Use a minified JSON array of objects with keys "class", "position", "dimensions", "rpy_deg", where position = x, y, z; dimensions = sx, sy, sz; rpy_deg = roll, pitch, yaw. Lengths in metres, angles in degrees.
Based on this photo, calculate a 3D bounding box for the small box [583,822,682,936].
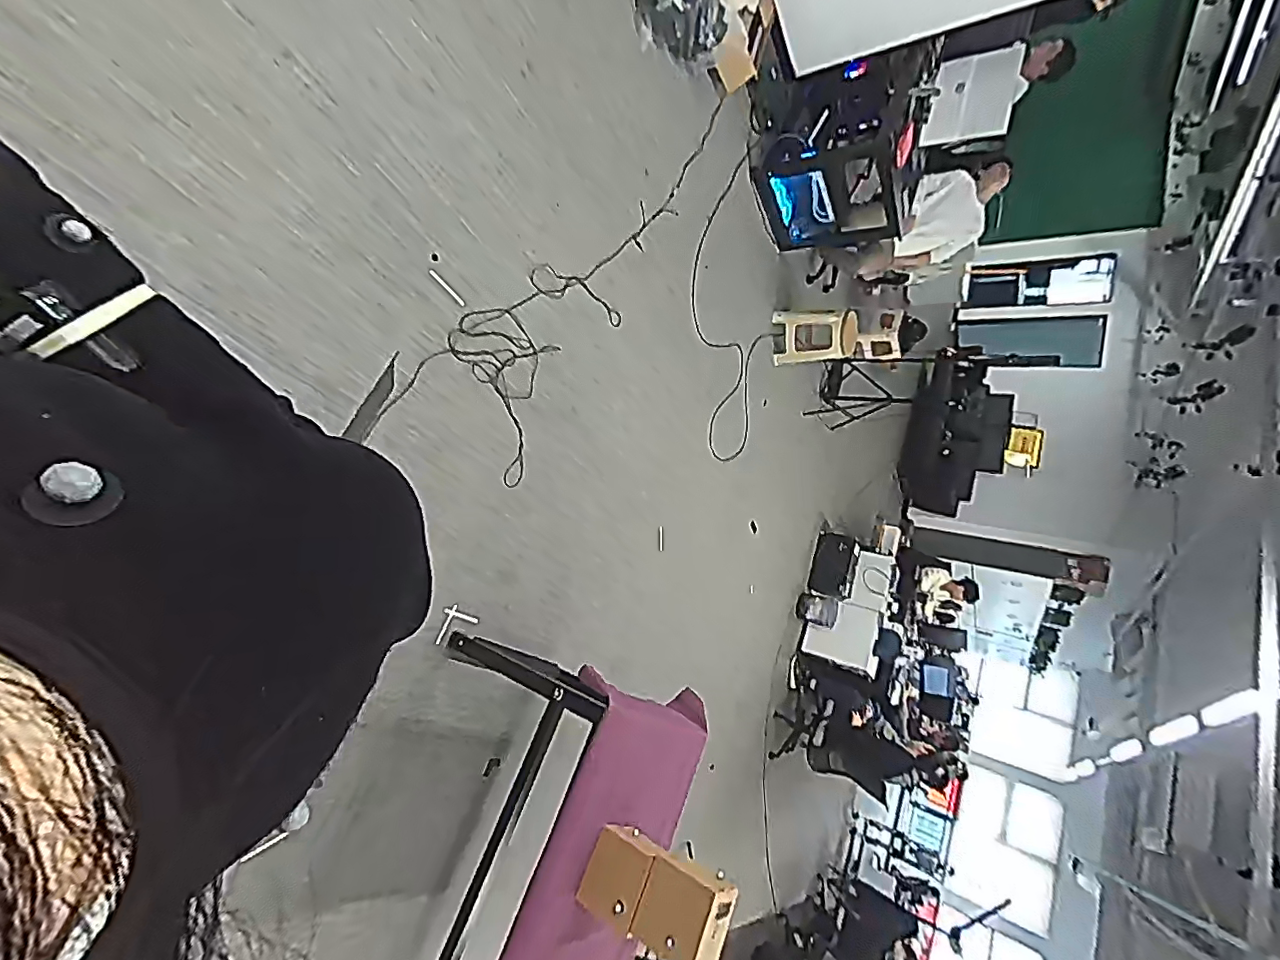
[{"class":"small box","position":[-0.022,1.026,1.400],"dimensions":[0.168,0.176,0.179],"rpy_deg":[49,58,-47]}]
